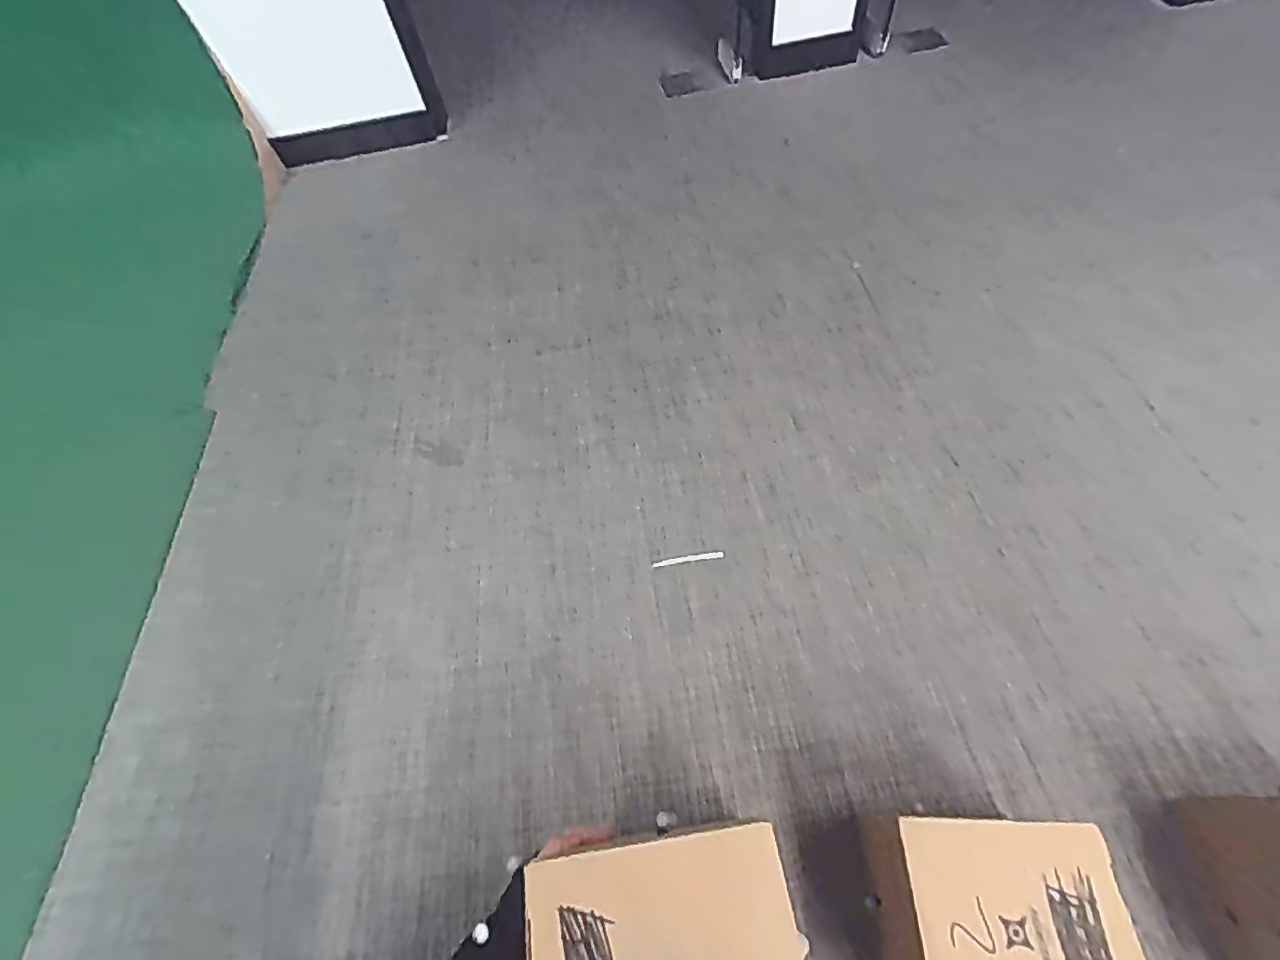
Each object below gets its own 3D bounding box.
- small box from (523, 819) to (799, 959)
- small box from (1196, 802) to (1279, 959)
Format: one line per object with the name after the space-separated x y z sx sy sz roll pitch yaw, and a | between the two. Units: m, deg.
0.023 0.360 0.401 0.179 0.176 0.168 -10 59 0 | small box
0.674 0.402 0.491 0.179 0.176 0.168 5 60 9 | small box
